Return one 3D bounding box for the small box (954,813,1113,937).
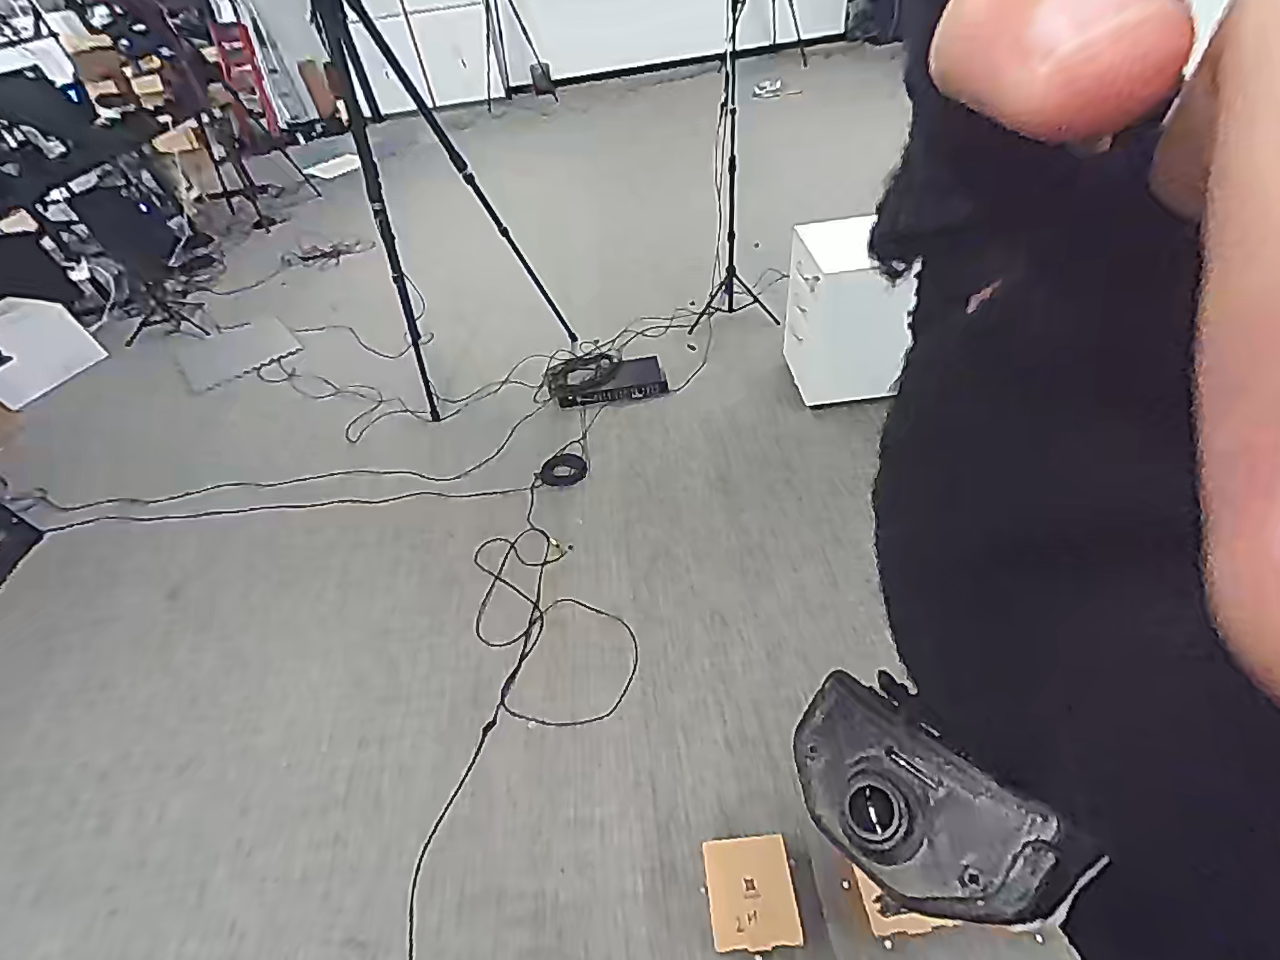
[{"bbox_3d":[0.765,0.789,1.079,0.168,0.176,0.179,-6,47,2],"label":"small box"}]

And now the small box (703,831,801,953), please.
[{"bbox_3d":[0.219,0.843,1.104,0.168,0.176,0.179,-7,47,3],"label":"small box"}]
